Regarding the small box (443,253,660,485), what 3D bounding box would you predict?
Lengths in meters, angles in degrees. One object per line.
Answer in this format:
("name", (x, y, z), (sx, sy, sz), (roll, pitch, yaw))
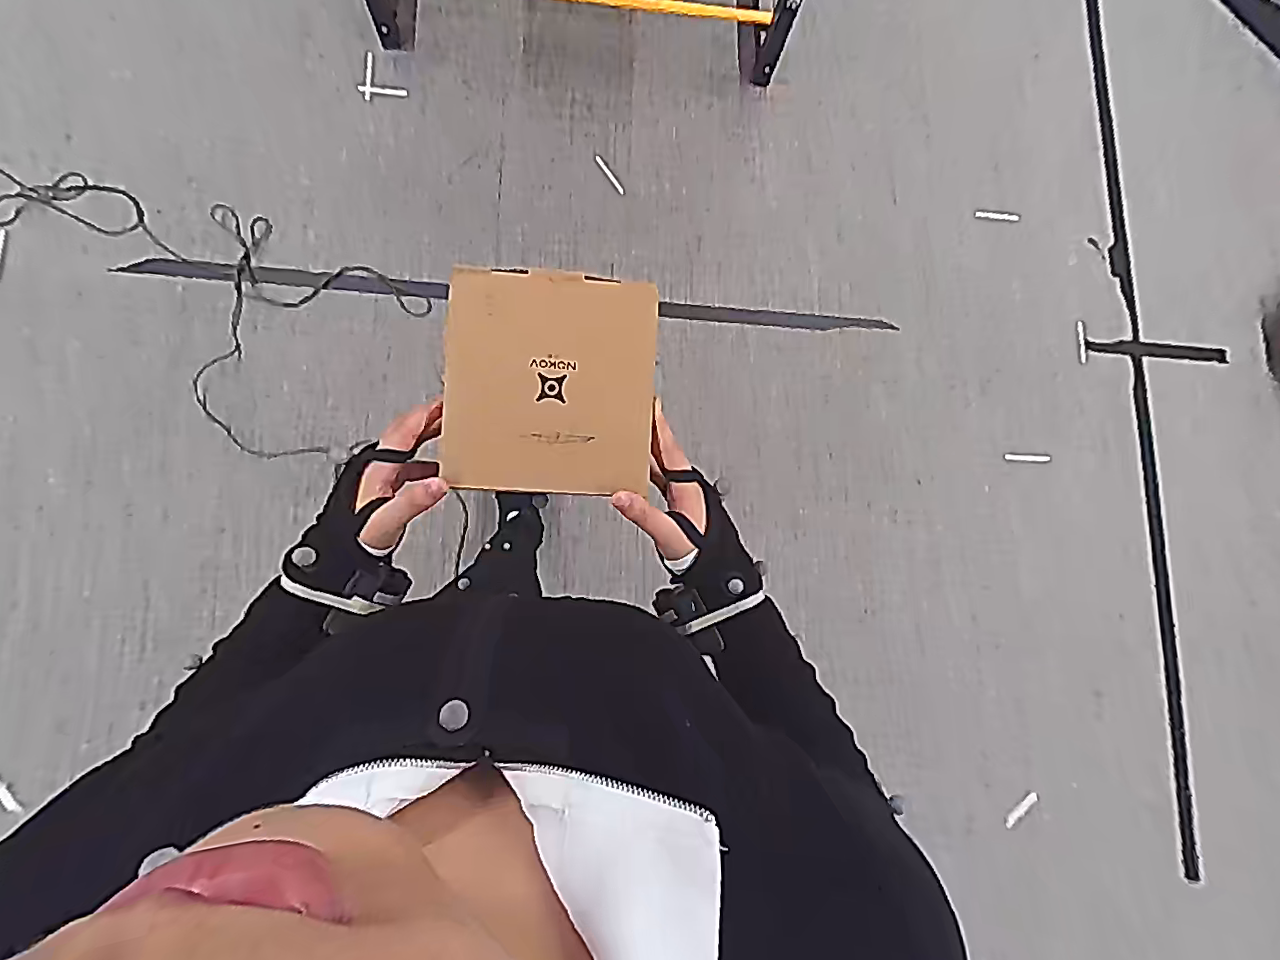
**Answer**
("small box", (-0.078, -0.087, 0.511), (0.168, 0.176, 0.179), (3, 90, -6))
